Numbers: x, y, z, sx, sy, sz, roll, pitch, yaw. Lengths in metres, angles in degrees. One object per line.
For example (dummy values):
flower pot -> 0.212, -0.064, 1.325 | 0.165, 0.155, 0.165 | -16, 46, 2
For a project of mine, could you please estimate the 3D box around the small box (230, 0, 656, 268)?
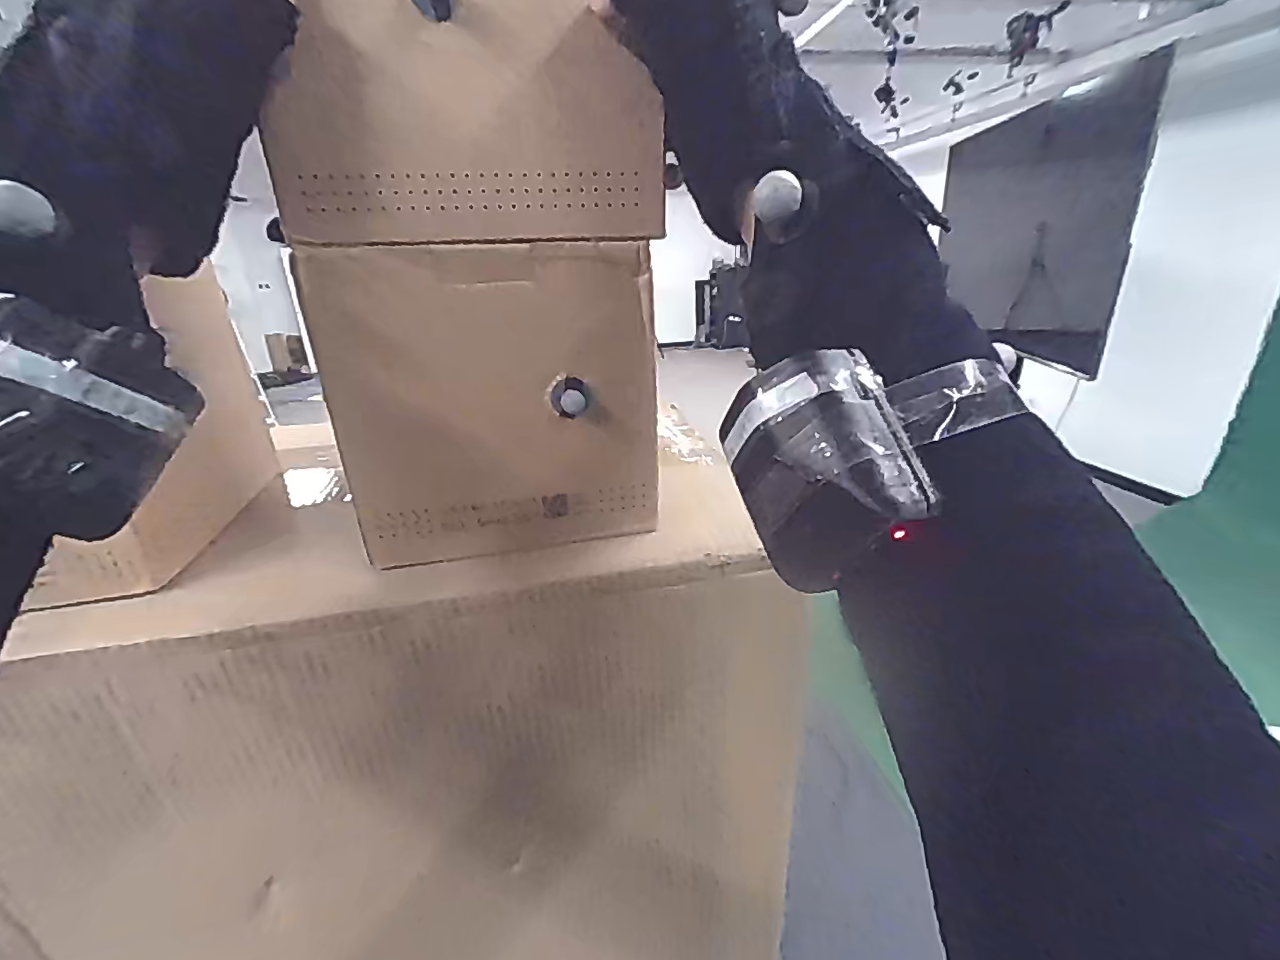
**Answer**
small box -> -0.087, -0.198, 0.309 | 0.179, 0.176, 0.168 | -4, 23, -7

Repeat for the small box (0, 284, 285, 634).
small box -> -0.355, -0.020, 0.335 | 0.168, 0.176, 0.179 | -9, 25, -12

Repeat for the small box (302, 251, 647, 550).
small box -> -0.091, -0.062, 0.367 | 0.168, 0.176, 0.179 | -5, 23, -11
